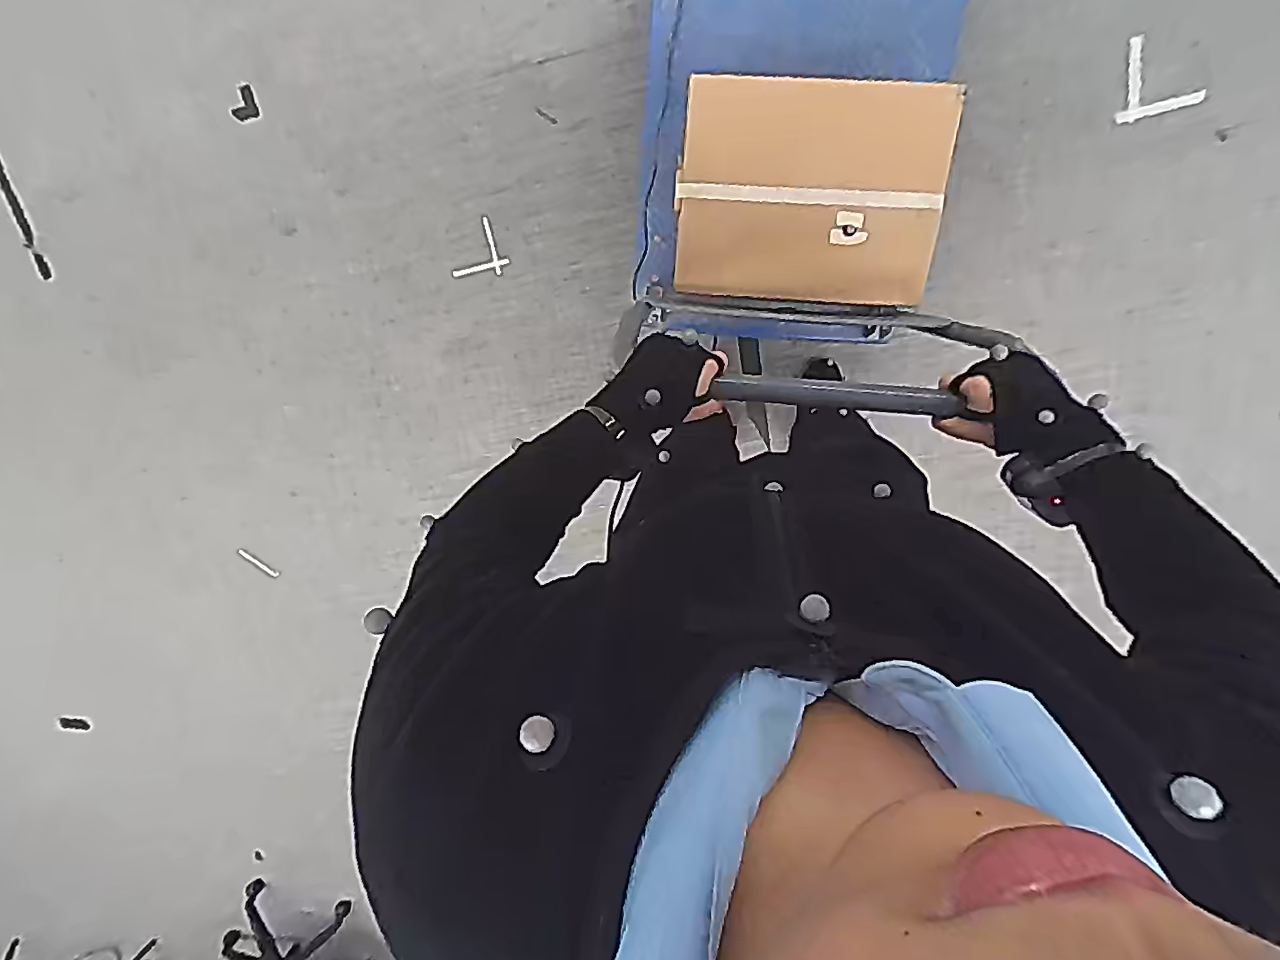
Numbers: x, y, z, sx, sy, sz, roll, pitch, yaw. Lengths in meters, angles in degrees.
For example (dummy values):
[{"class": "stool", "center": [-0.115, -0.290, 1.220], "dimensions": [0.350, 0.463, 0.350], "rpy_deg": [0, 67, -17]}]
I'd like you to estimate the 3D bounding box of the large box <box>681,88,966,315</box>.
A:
[{"class": "large box", "center": [0.280, -0.470, 0.979], "dimensions": [0.408, 0.320, 0.320], "rpy_deg": [4, 109, 3]}]
